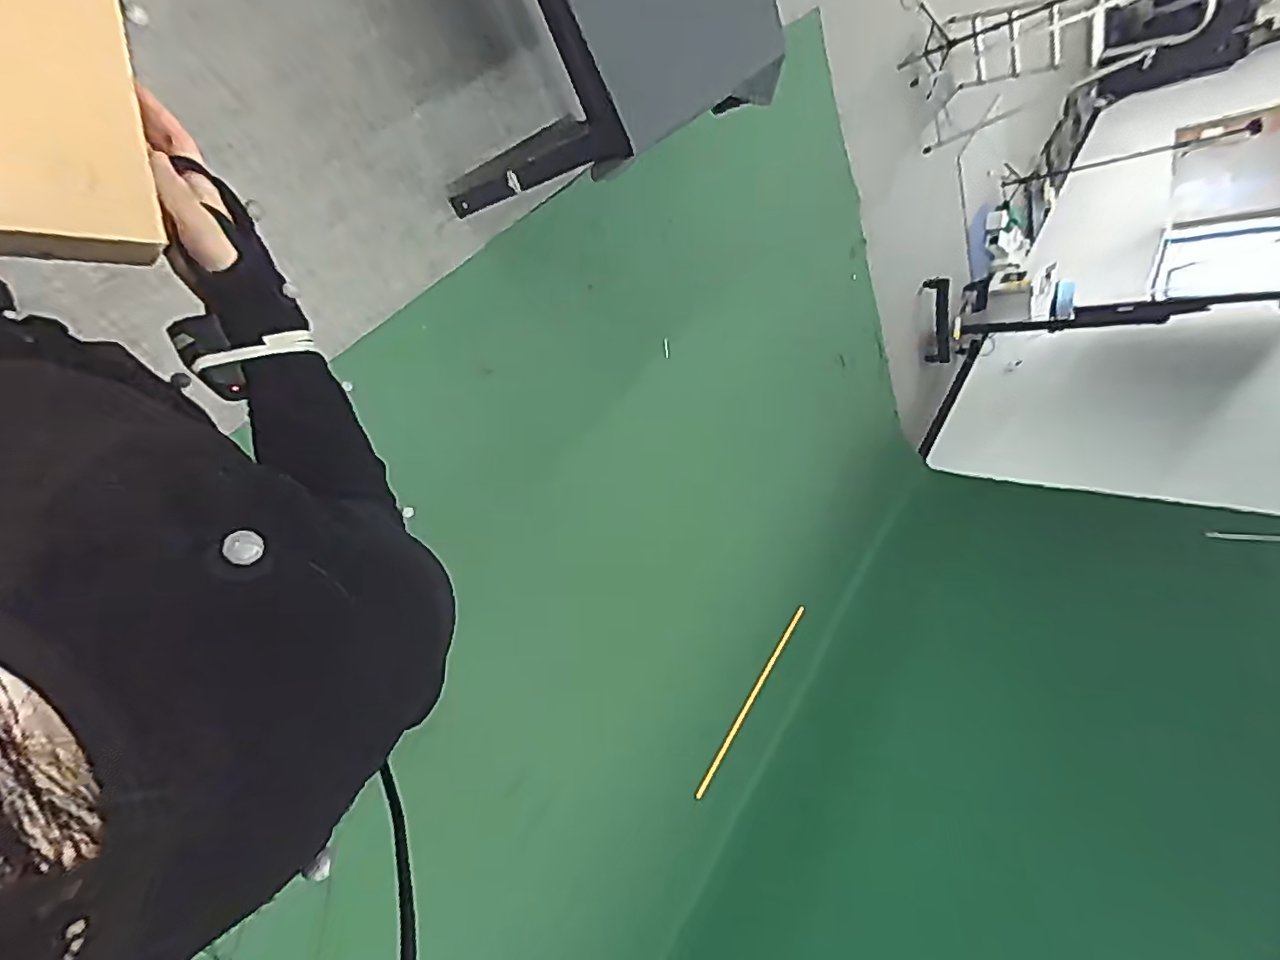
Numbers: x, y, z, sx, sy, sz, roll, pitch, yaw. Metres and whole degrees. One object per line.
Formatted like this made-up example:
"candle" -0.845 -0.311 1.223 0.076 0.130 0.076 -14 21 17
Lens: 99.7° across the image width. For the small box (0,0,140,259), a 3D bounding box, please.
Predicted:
"small box" -0.413 -0.234 0.312 0.168 0.176 0.179 -12 109 -42
